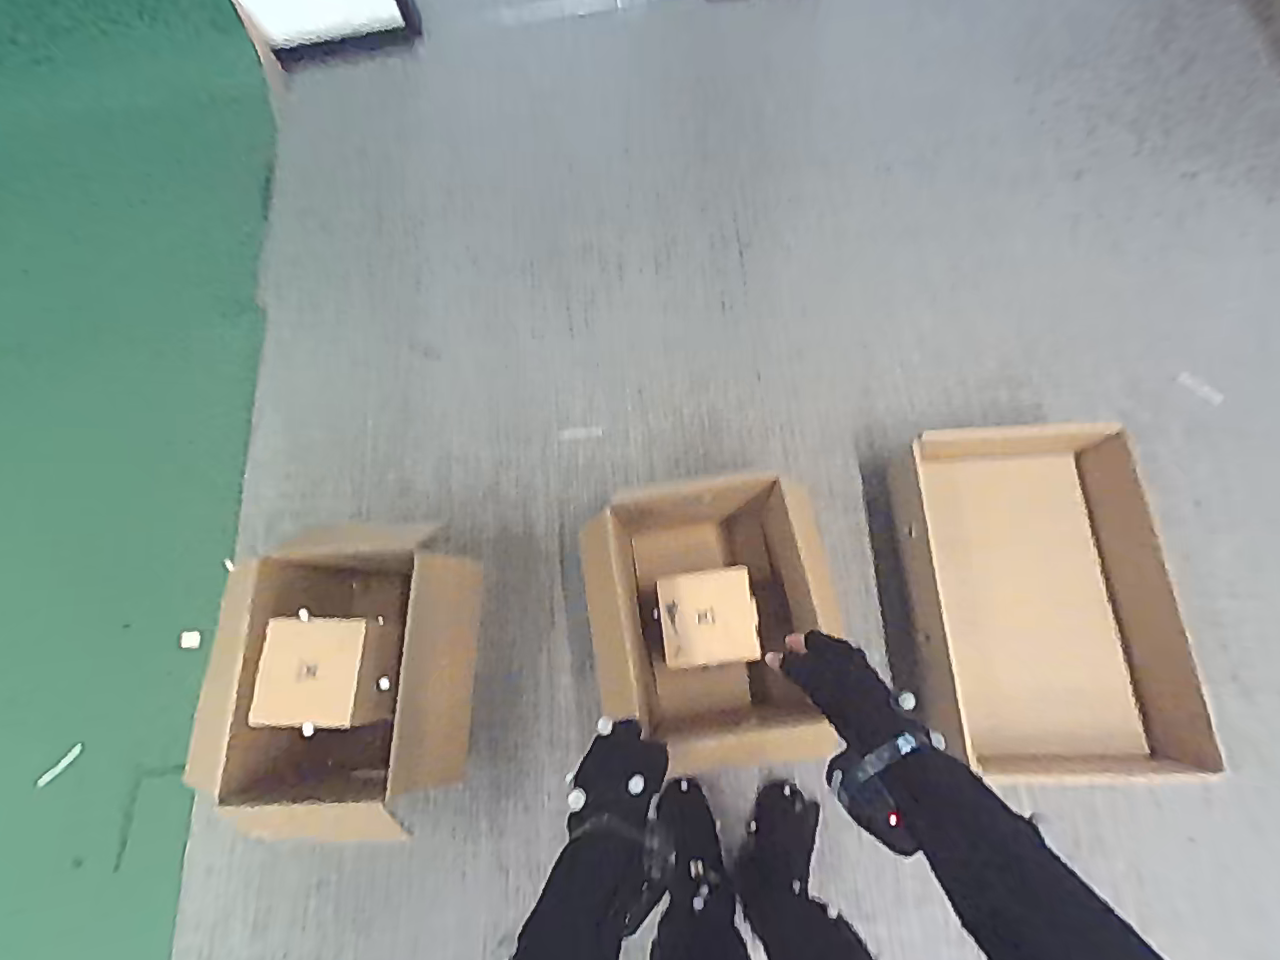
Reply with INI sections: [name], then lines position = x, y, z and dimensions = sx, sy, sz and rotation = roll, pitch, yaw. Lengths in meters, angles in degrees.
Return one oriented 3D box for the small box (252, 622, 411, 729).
[small box]
position = -0.535, 0.343, 0.966
dimensions = 0.179, 0.176, 0.168
rotation = -1, 72, 4
